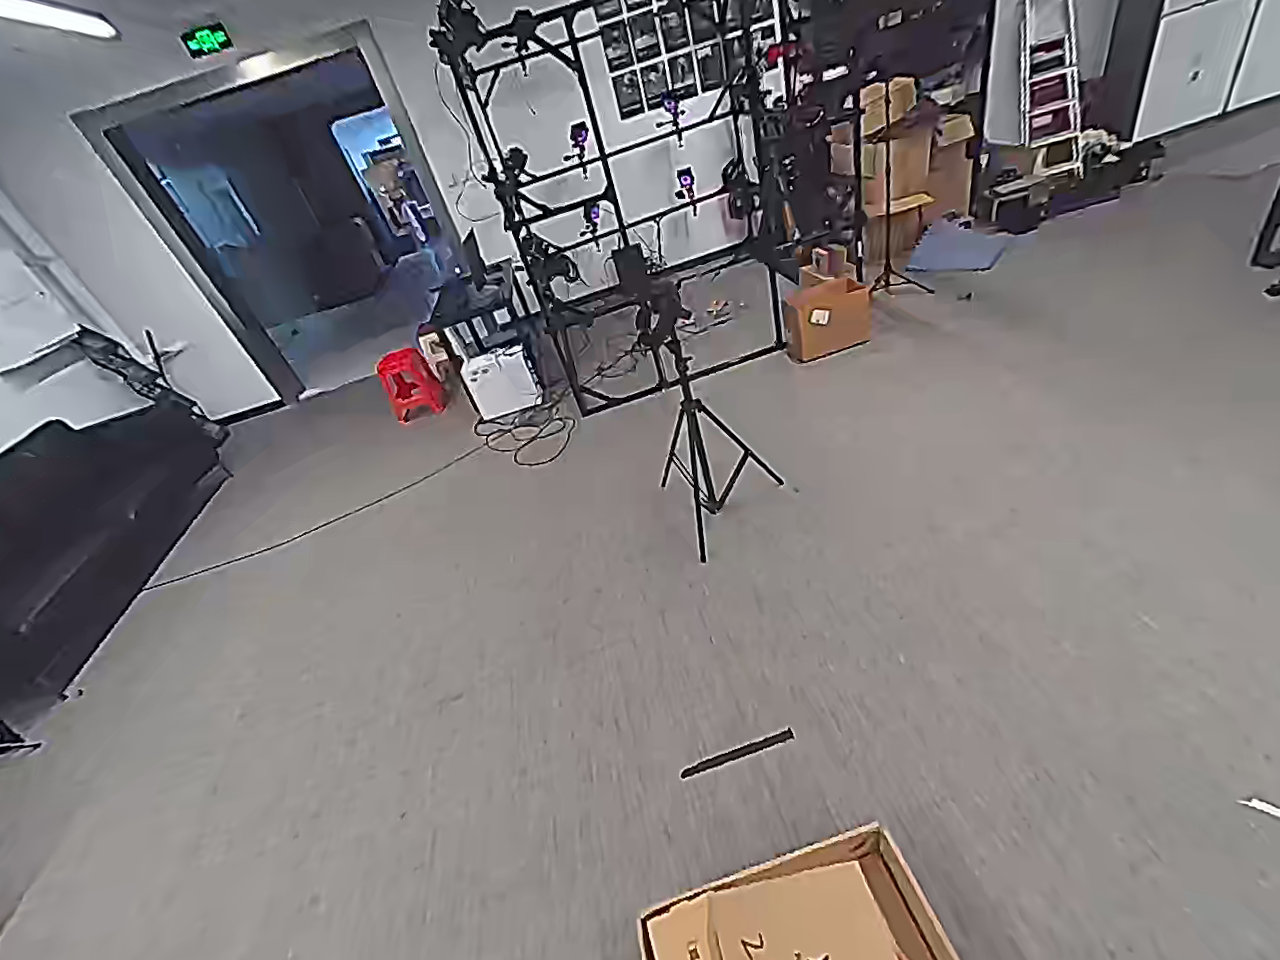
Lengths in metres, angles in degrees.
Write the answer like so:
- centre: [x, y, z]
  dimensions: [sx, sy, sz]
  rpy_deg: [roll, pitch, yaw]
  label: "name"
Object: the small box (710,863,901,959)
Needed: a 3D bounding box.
- centre: [0.176, 0.544, 0.574]
  dimensions: [0.179, 0.176, 0.168]
  rpy_deg: [-10, 38, -4]
  label: "small box"
